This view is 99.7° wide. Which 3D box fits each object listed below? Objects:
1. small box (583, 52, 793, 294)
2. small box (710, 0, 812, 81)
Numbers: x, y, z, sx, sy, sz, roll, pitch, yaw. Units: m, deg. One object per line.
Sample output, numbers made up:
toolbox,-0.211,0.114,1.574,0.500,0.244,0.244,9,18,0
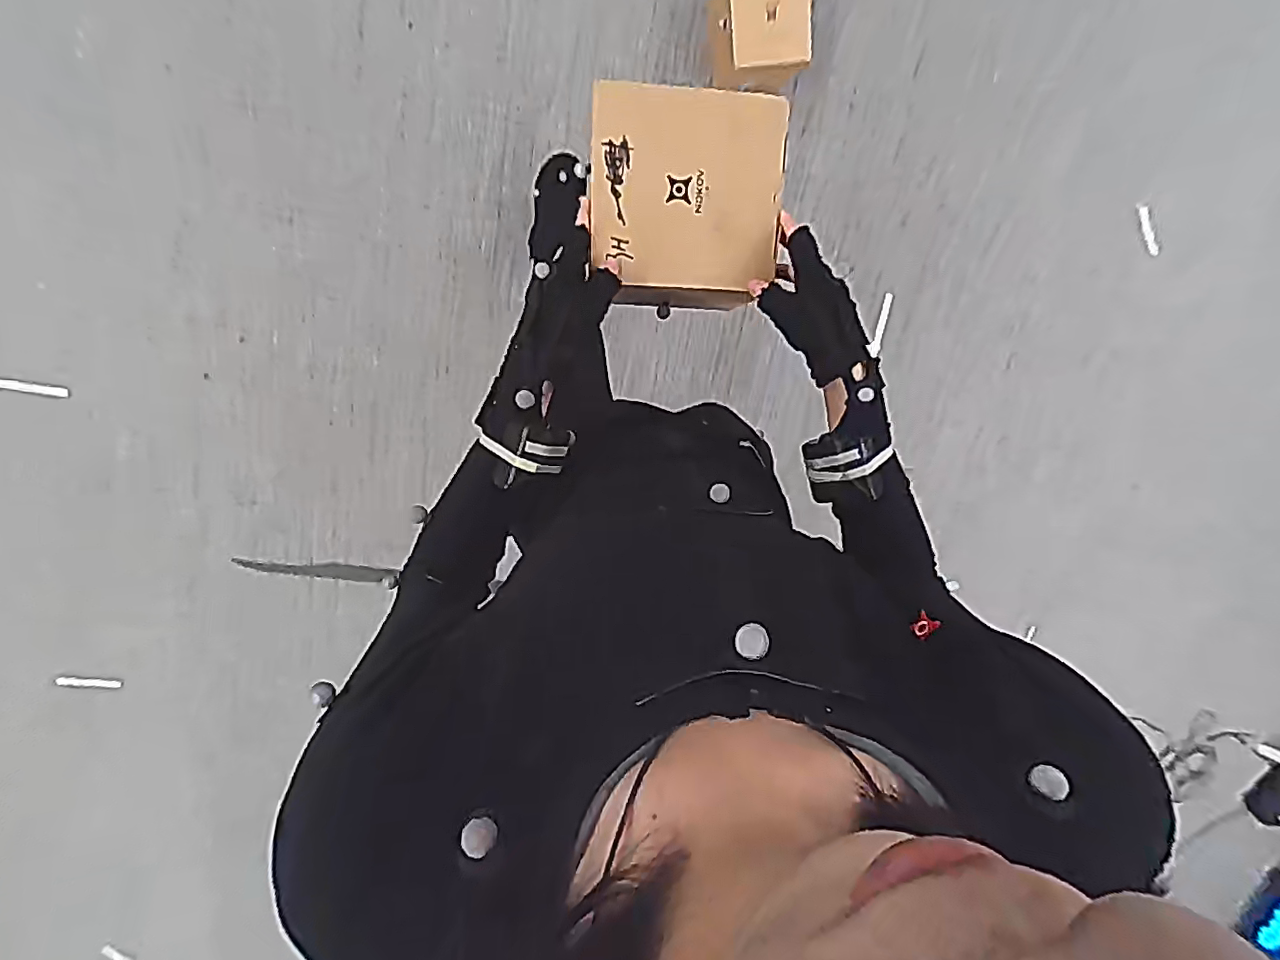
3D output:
small box,0.034,-0.288,0.549,0.179,0.176,0.168,1,102,-7
small box,0.251,-0.949,1.145,0.168,0.176,0.179,-10,110,-4
